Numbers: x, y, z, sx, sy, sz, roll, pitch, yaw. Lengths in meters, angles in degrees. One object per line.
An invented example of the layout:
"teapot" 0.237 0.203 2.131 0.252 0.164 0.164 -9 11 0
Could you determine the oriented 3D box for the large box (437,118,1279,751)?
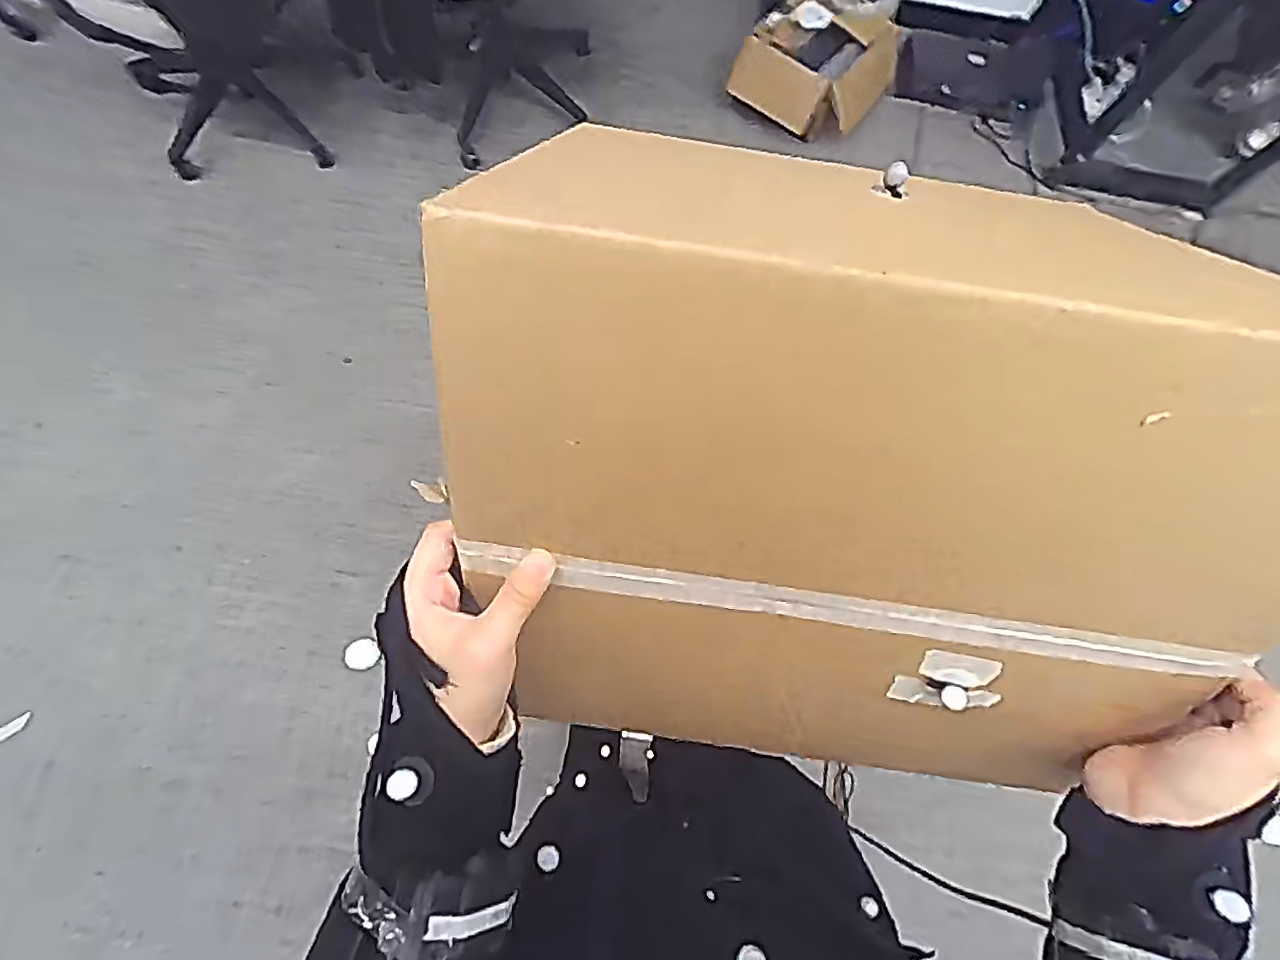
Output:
"large box" 0.122 -0.050 0.387 0.408 0.320 0.320 7 39 -1
